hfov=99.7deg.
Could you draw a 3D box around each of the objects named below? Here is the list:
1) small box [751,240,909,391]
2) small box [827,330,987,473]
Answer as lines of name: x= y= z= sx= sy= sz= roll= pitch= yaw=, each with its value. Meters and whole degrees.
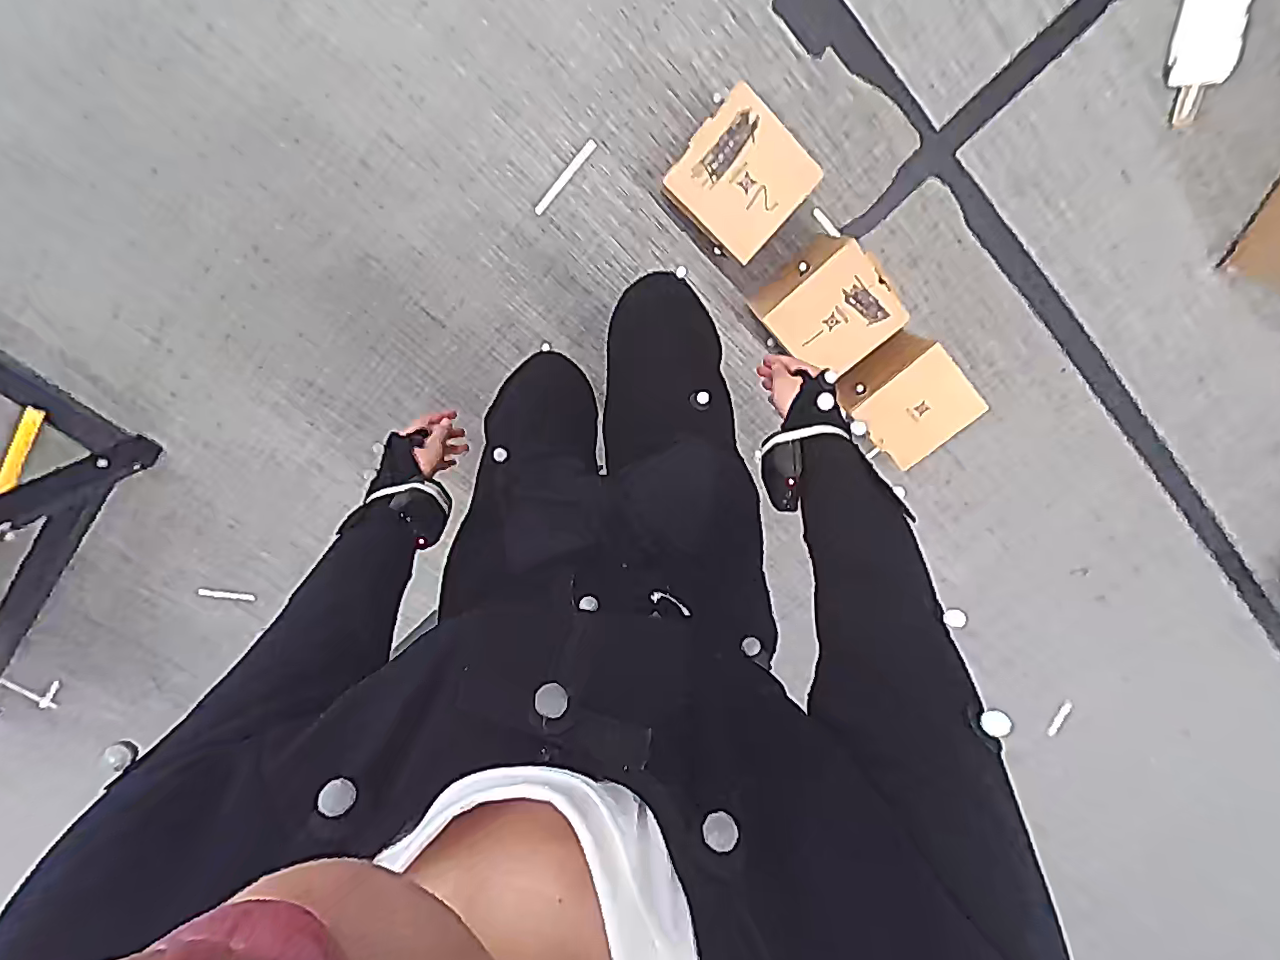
small box: x=0.314 y=-0.291 z=0.933 sx=0.179 sy=0.176 sz=0.168 roll=-40 pitch=109 yaw=19
small box: x=0.481 y=-0.152 z=1.002 sx=0.168 sy=0.176 sz=0.179 roll=41 pitch=110 yaw=-18
